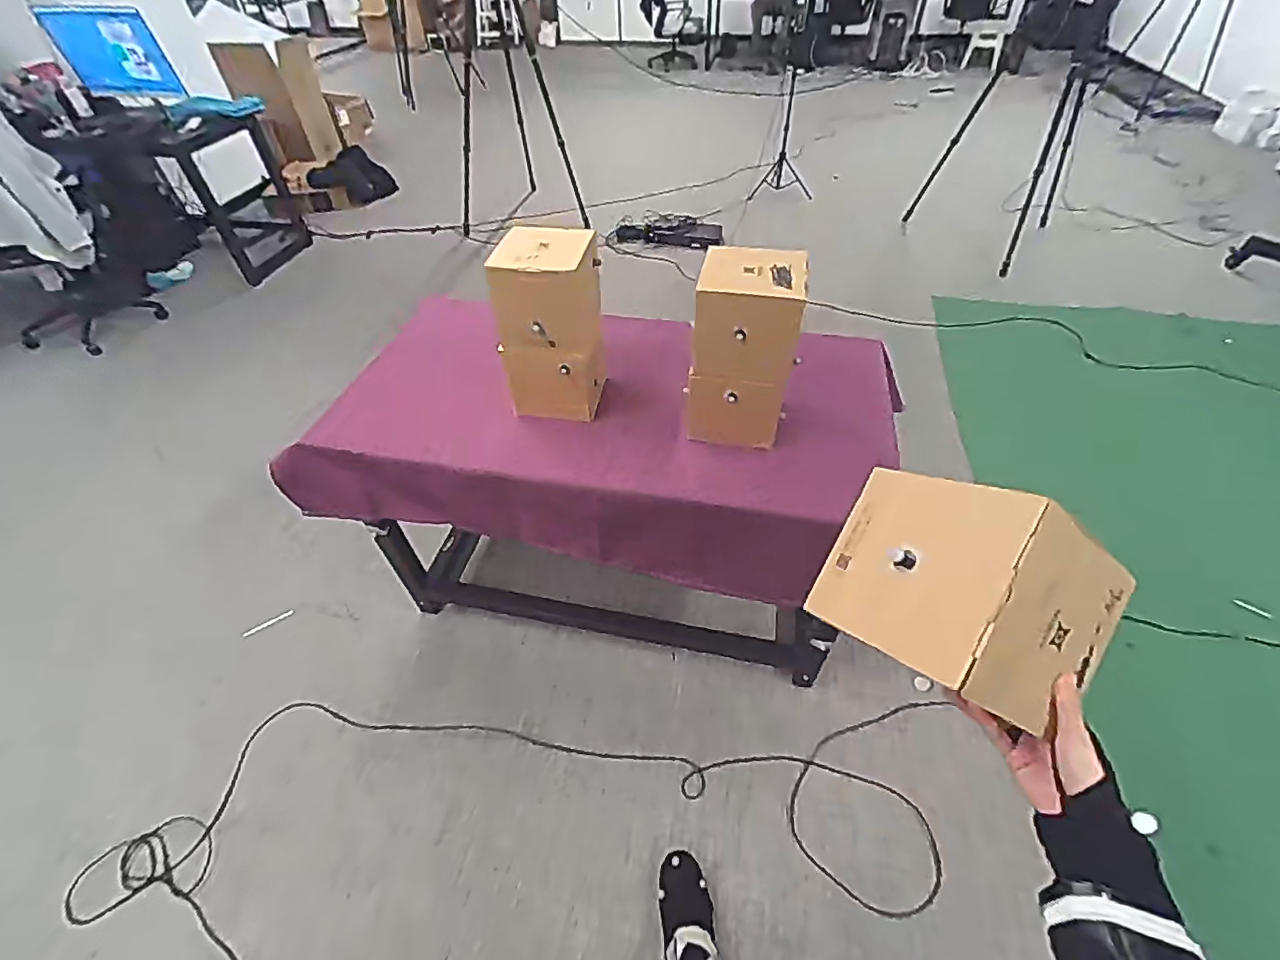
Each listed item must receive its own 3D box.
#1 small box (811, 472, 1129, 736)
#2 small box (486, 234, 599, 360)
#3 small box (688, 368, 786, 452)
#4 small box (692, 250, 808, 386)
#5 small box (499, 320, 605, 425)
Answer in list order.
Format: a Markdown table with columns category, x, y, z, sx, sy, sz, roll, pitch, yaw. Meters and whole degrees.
| category | x | y | z | sx | sy | sz | roll | pitch | yaw |
| --- | --- | --- | --- | --- | --- | --- | --- | --- | --- |
| small box | 0.299 | 0.103 | 0.513 | 0.168 | 0.179 | 0.176 | -62 | 25 | -4 |
| small box | -0.176 | -0.354 | 1.045 | 0.168 | 0.176 | 0.179 | 5 | 47 | 7 |
| small box | 0.194 | -0.175 | 1.084 | 0.179 | 0.176 | 0.168 | 9 | 48 | 10 |
| small box | 0.192 | -0.285 | 0.963 | 0.179 | 0.176 | 0.168 | 8 | 48 | 11 |
| small box | -0.178 | -0.234 | 1.159 | 0.179 | 0.176 | 0.168 | 5 | 47 | 6 |
